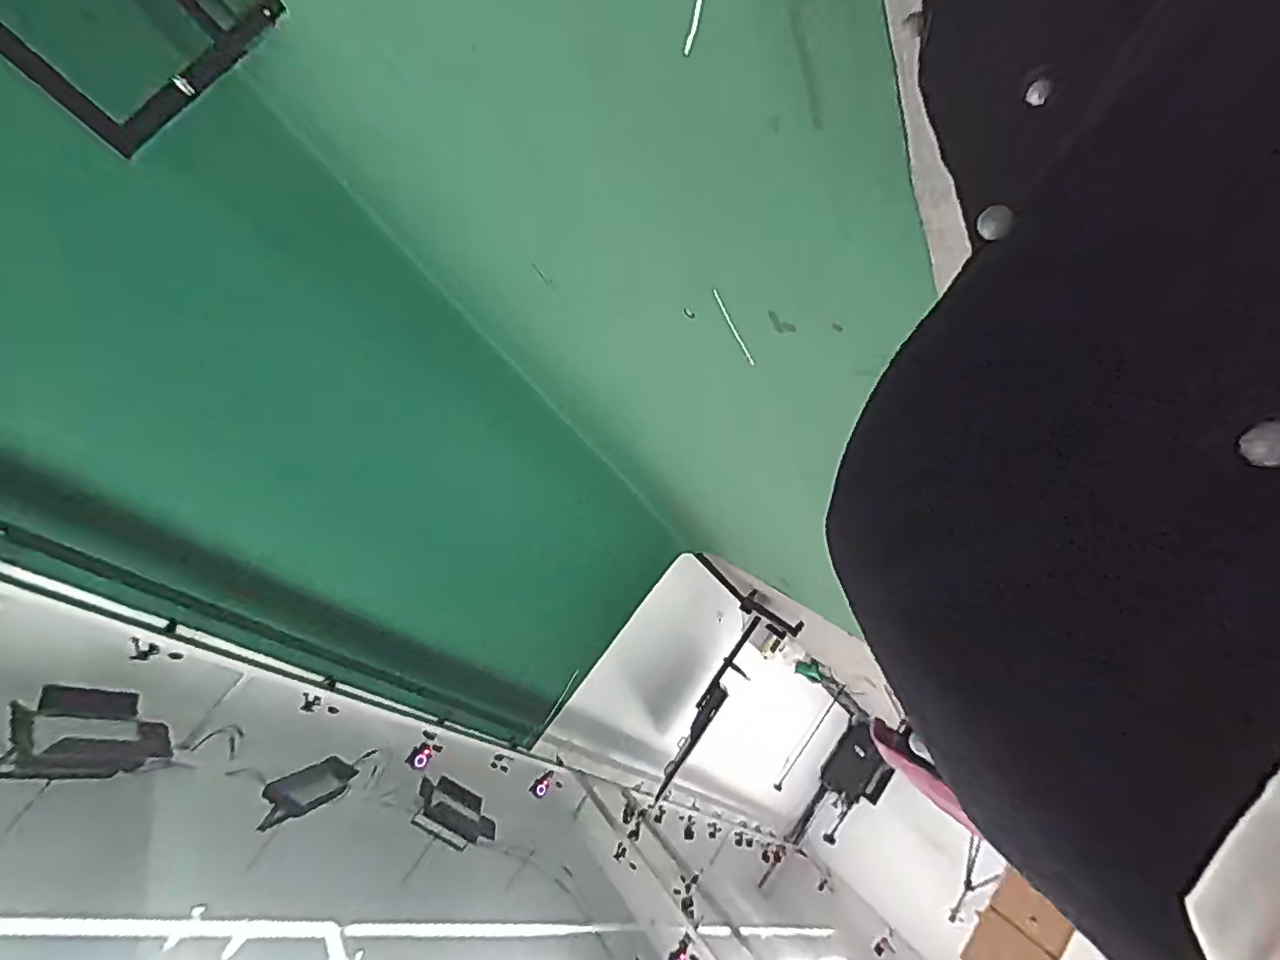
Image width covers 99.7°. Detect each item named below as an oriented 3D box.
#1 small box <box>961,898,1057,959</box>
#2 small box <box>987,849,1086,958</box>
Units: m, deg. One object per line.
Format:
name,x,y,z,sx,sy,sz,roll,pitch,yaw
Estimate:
small box,1.033,1.329,1.519,0.179,0.176,0.168,30,166,41
small box,1.133,1.204,1.550,0.179,0.176,0.168,31,167,41
